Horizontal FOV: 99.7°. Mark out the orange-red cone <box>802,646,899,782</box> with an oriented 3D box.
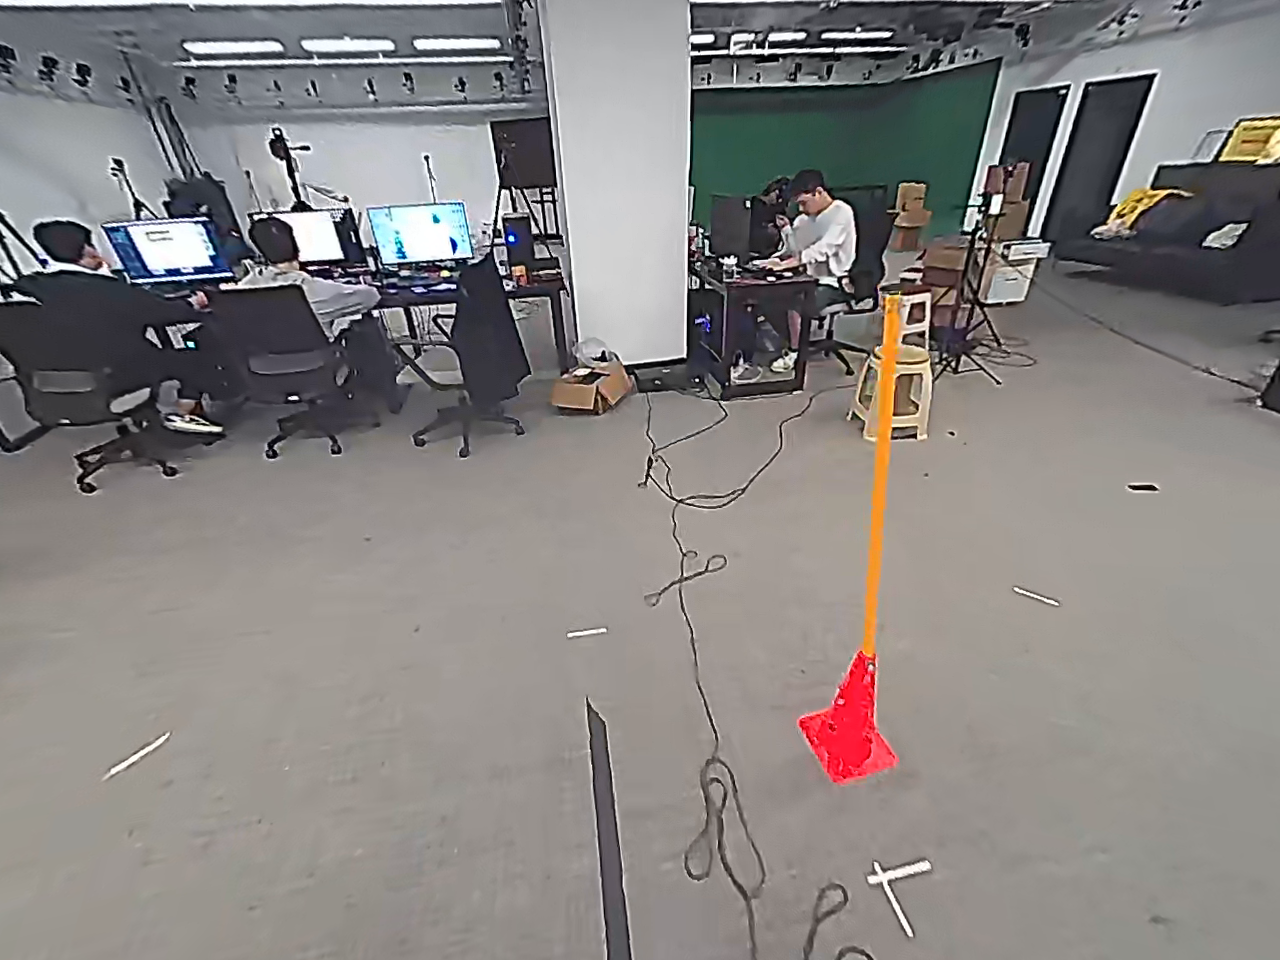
[{"bbox_3d":[0.560,0.569,1.394,0.199,0.360,0.198,-11,30,-10],"label":"orange-red cone"}]
